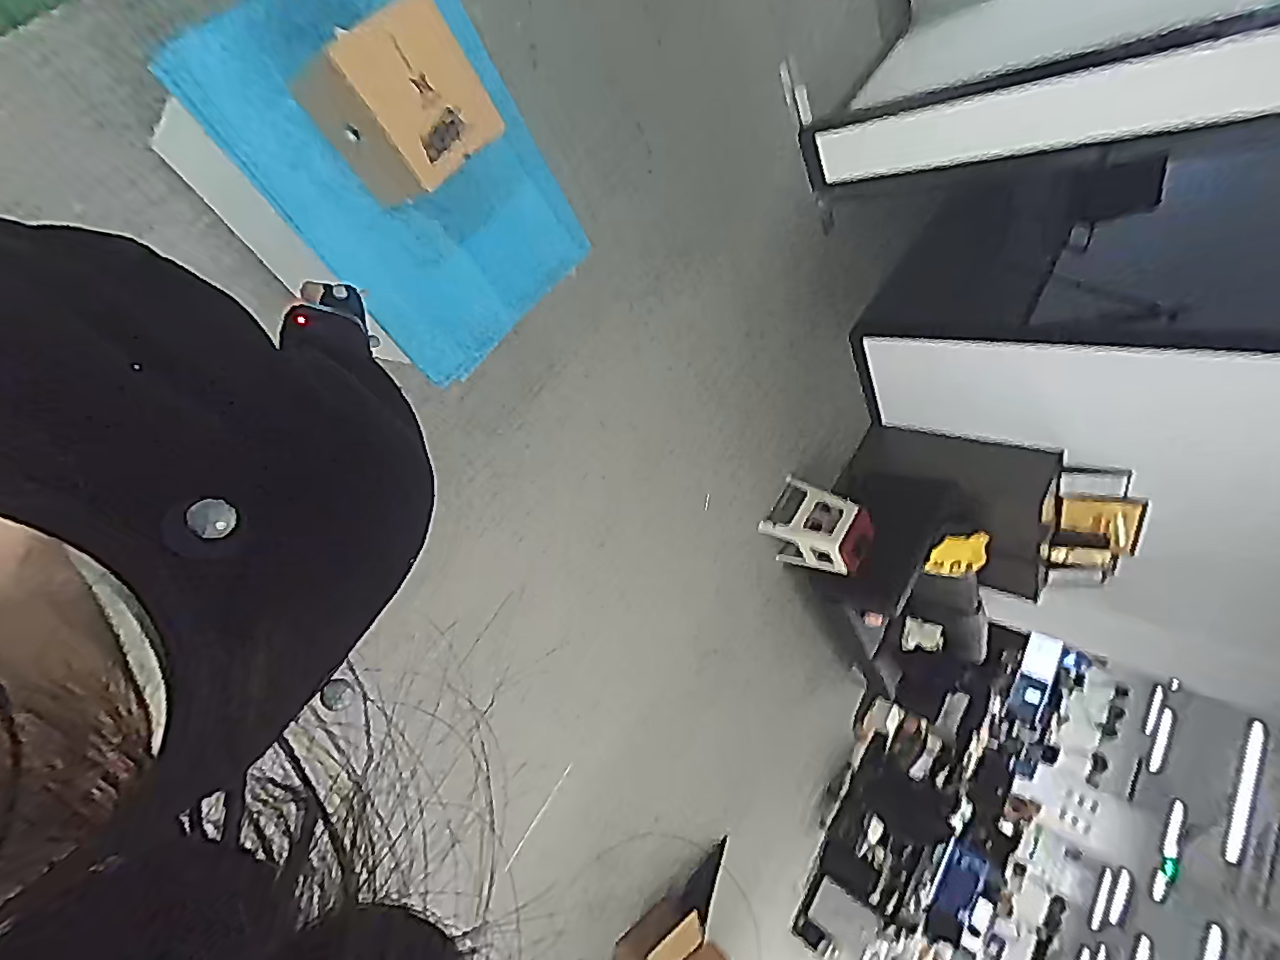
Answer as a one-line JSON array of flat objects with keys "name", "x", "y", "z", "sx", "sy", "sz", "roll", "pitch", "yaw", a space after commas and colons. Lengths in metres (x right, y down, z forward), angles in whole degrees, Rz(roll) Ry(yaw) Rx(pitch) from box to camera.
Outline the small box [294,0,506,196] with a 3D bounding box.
[{"name": "small box", "x": -0.329, "y": -0.519, "z": 0.748, "sx": 0.168, "sy": 0.176, "sz": 0.179, "roll": -54, "pitch": 134, "yaw": -20}]
